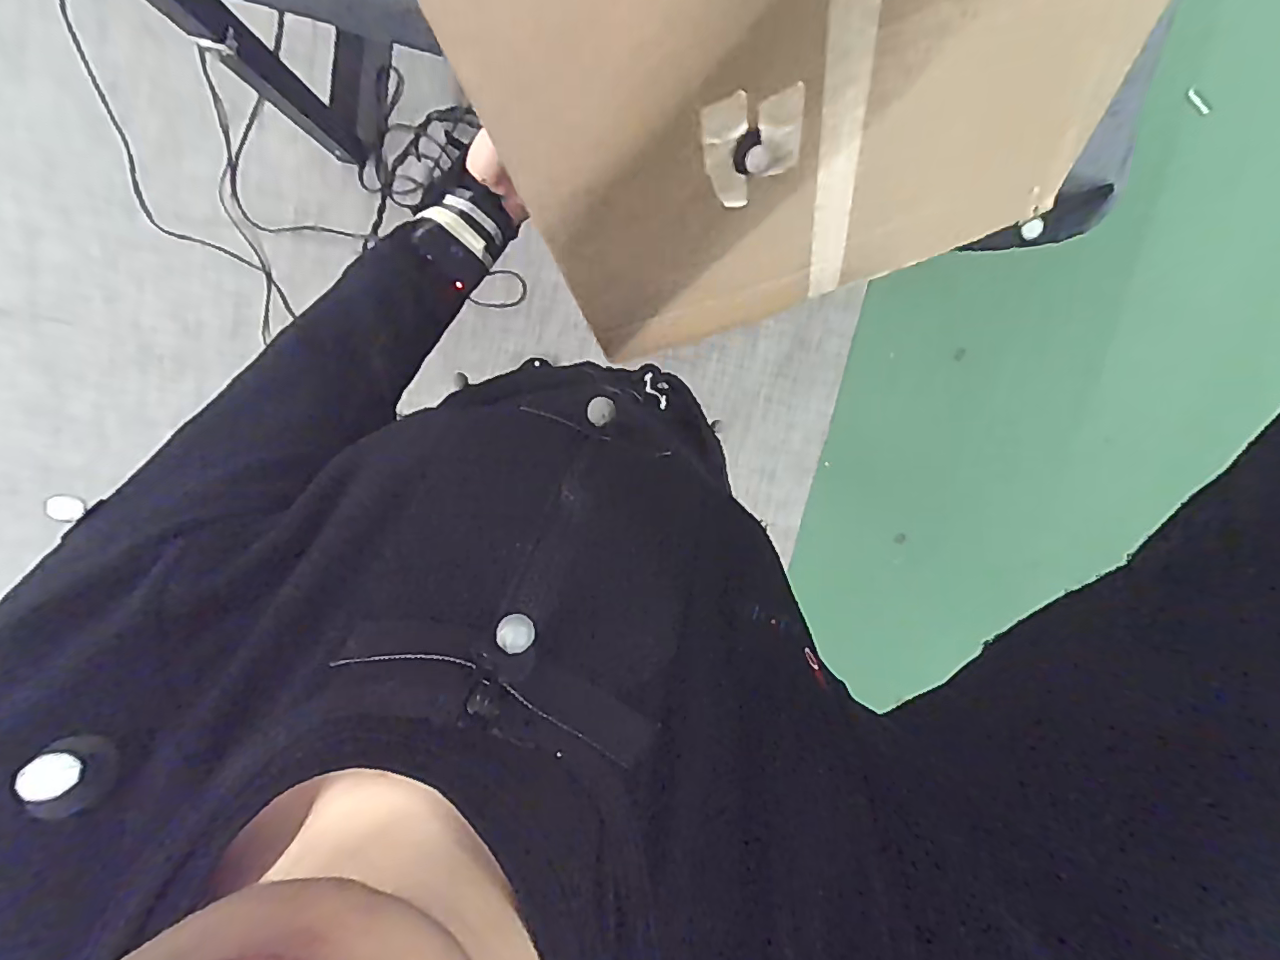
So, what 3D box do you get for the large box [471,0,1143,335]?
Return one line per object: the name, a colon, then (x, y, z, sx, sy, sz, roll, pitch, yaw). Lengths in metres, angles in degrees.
large box: (0.050, -0.352, 0.262, 0.320, 0.408, 0.320, -19, 68, 7)
